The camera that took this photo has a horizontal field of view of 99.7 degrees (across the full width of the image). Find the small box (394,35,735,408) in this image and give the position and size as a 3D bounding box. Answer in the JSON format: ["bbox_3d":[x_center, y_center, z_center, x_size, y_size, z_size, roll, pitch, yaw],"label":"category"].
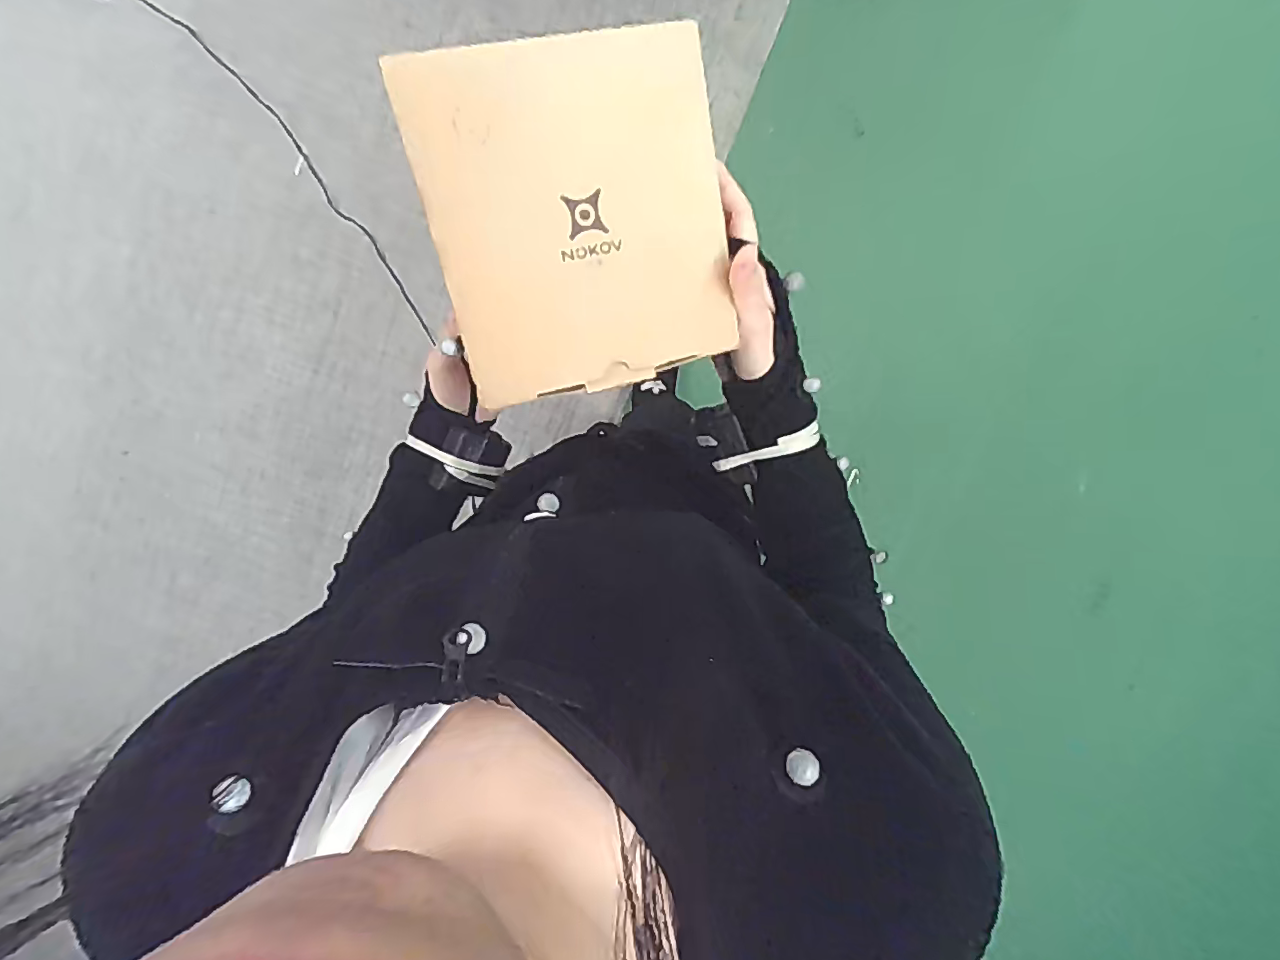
[{"bbox_3d":[-0.052,-0.165,0.384,0.168,0.176,0.179,-17,111,-10],"label":"small box"}]
